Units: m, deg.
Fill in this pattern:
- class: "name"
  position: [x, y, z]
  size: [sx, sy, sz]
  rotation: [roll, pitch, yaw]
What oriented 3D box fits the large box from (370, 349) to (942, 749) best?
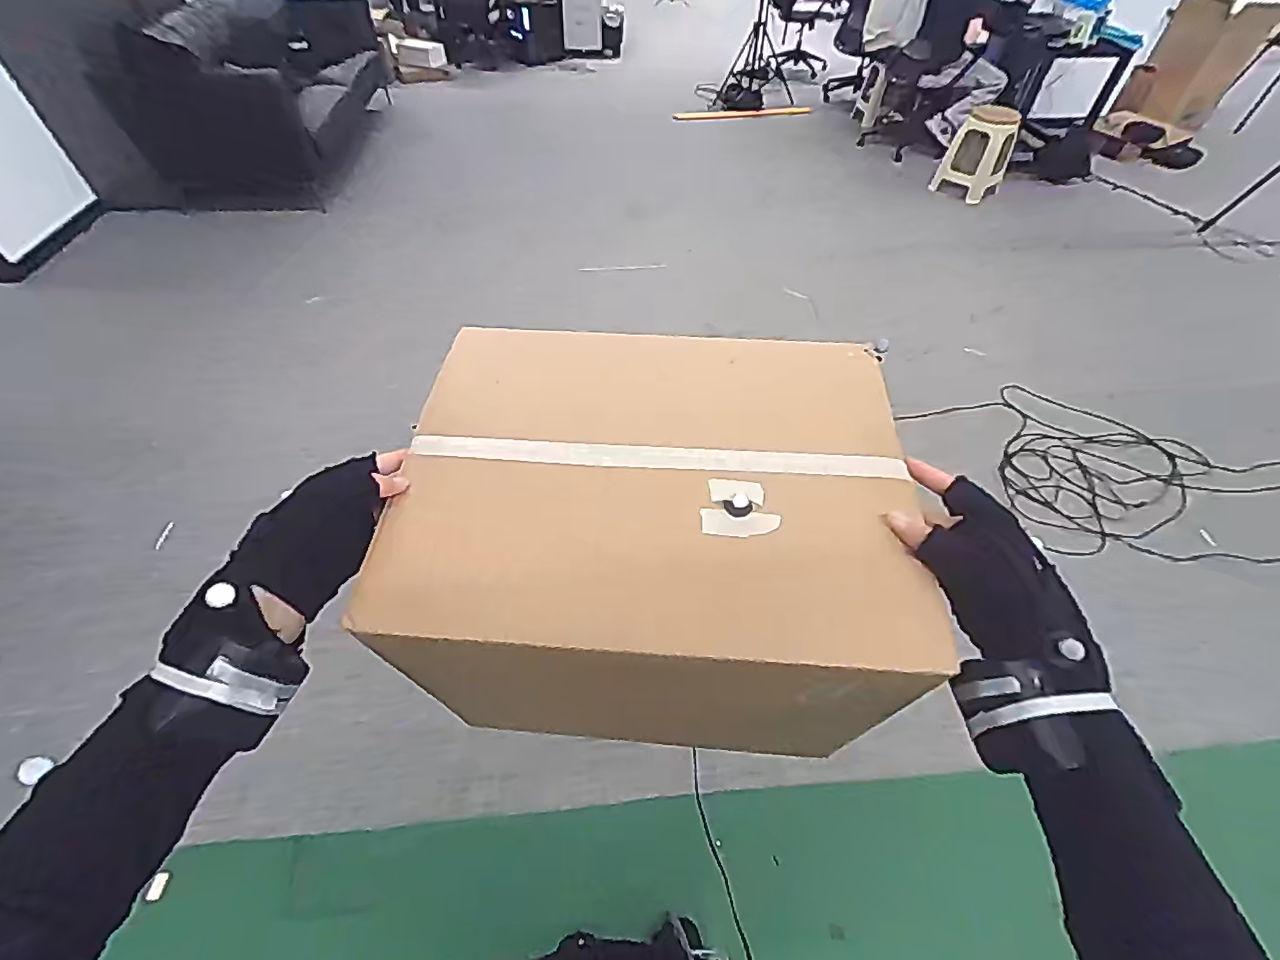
- class: "large box"
  position: [0.016, 0.083, 0.576]
  size: [0.408, 0.320, 0.320]
  rotation: [3, 55, 3]
